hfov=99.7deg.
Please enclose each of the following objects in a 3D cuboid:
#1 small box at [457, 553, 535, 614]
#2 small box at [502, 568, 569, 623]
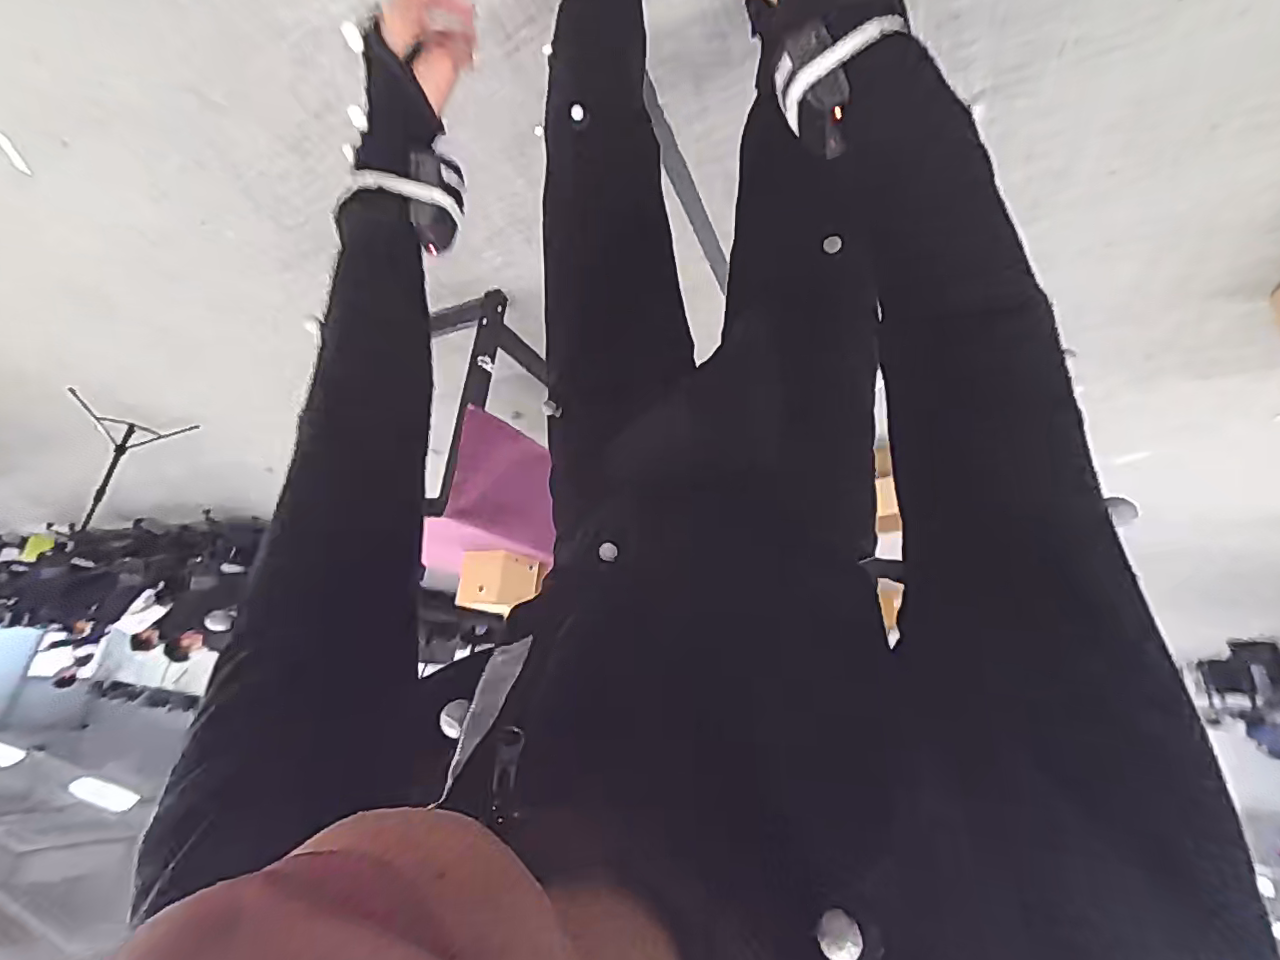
[{"bbox_3d":[-0.454,0.333,1.731,0.179,0.176,0.168,-6,157,30],"label":"small box"},{"bbox_3d":[-0.363,0.410,1.917,0.179,0.176,0.168,-4,157,22],"label":"small box"}]
